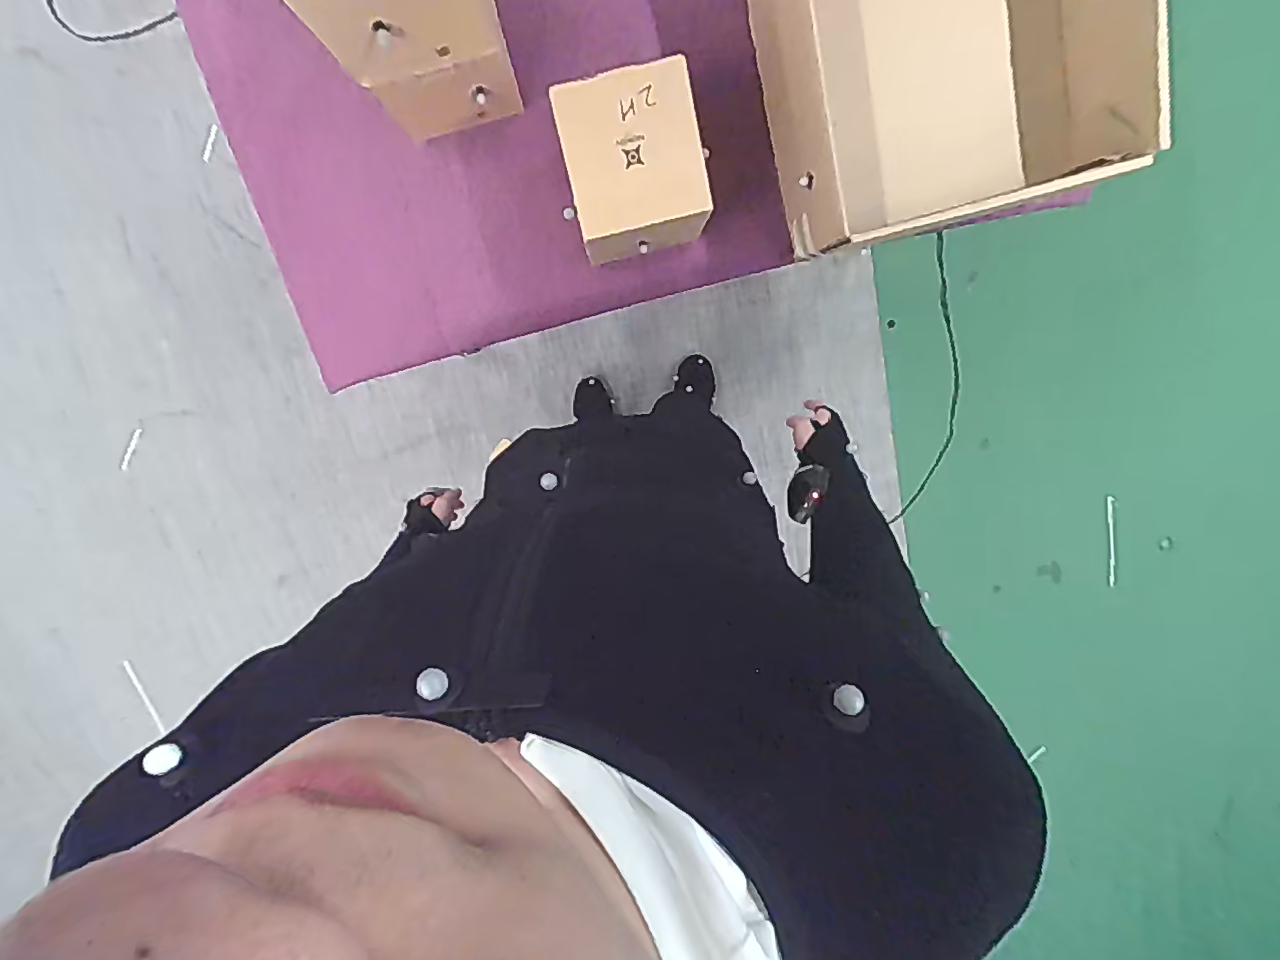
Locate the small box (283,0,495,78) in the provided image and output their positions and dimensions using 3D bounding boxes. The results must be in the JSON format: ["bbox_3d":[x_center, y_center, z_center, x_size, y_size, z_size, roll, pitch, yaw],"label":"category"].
[{"bbox_3d":[-0.257,-0.533,0.526,0.168,0.176,0.179,-15,103,1],"label":"small box"}]

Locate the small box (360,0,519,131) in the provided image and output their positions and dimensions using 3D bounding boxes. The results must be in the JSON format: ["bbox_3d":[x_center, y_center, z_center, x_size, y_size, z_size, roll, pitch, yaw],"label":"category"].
[{"bbox_3d":[-0.264,-0.573,0.683,0.168,0.176,0.179,-15,103,0],"label":"small box"}]

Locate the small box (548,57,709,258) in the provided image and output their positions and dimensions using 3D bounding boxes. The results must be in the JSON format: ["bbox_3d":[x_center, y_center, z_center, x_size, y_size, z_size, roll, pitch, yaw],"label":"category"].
[{"bbox_3d":[-0.013,-0.410,0.726,0.168,0.176,0.179,-13,102,0],"label":"small box"}]
